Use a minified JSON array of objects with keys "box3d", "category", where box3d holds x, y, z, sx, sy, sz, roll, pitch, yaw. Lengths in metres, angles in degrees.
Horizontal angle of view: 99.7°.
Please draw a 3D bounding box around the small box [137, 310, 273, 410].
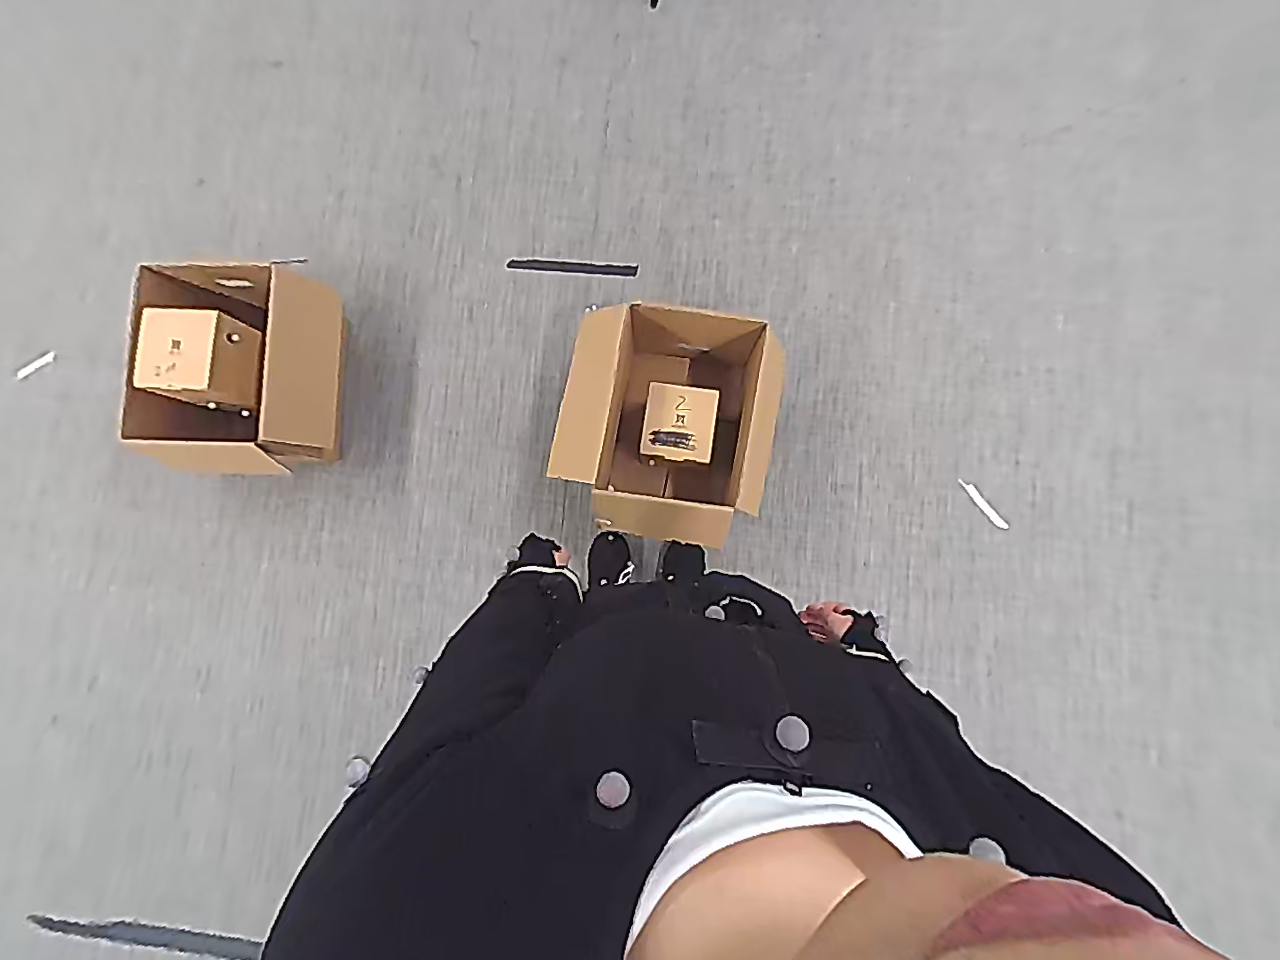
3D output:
[{"box3d":[-0.970,-0.265,1.223,0.168,0.176,0.179,3,85,3],"category":"small box"}]
